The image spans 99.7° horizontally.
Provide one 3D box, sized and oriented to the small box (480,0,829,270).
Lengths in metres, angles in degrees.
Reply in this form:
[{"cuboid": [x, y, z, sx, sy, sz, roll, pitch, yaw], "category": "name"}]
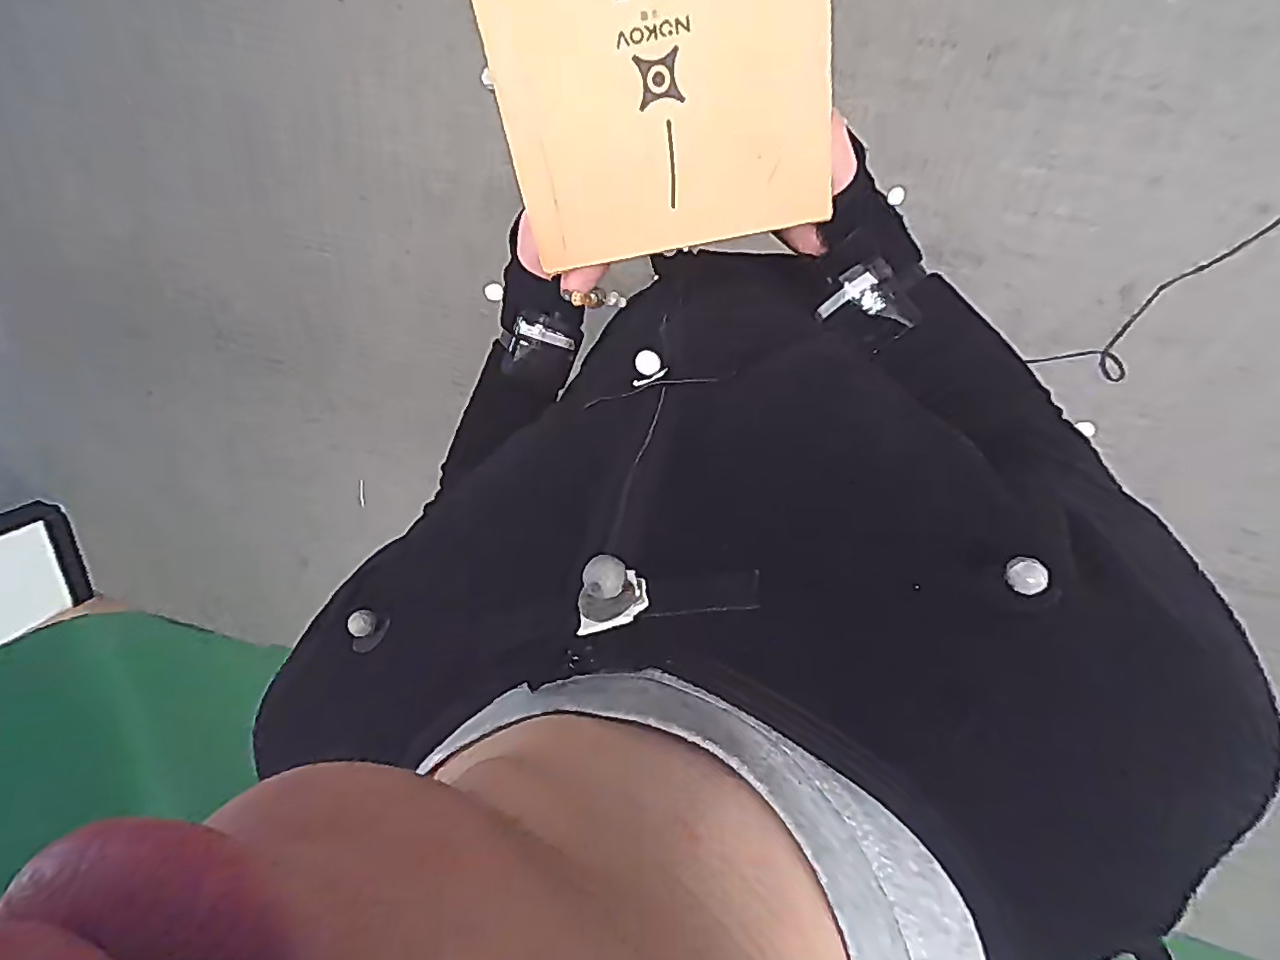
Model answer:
[{"cuboid": [0.010, -0.245, 0.335, 0.168, 0.176, 0.179, -8, 120, 6], "category": "small box"}]
